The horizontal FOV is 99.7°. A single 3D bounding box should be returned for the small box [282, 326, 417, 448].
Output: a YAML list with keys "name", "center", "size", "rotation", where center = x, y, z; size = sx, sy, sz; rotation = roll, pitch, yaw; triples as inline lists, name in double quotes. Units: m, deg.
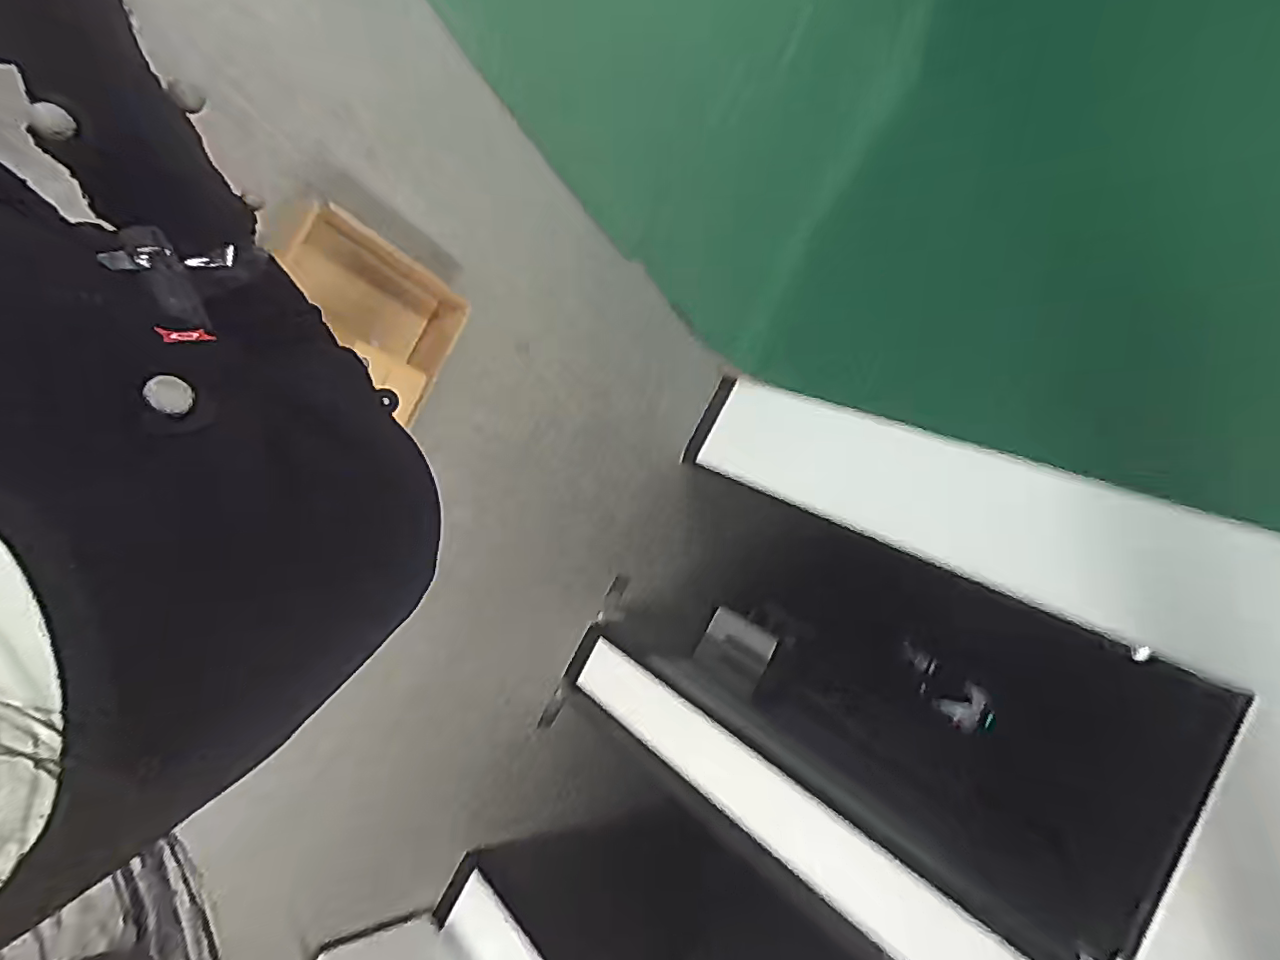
- name: "small box"
  center: [-0.614, -0.195, 1.135]
  size: [0.168, 0.176, 0.179]
  rotation: [31, 86, -56]
